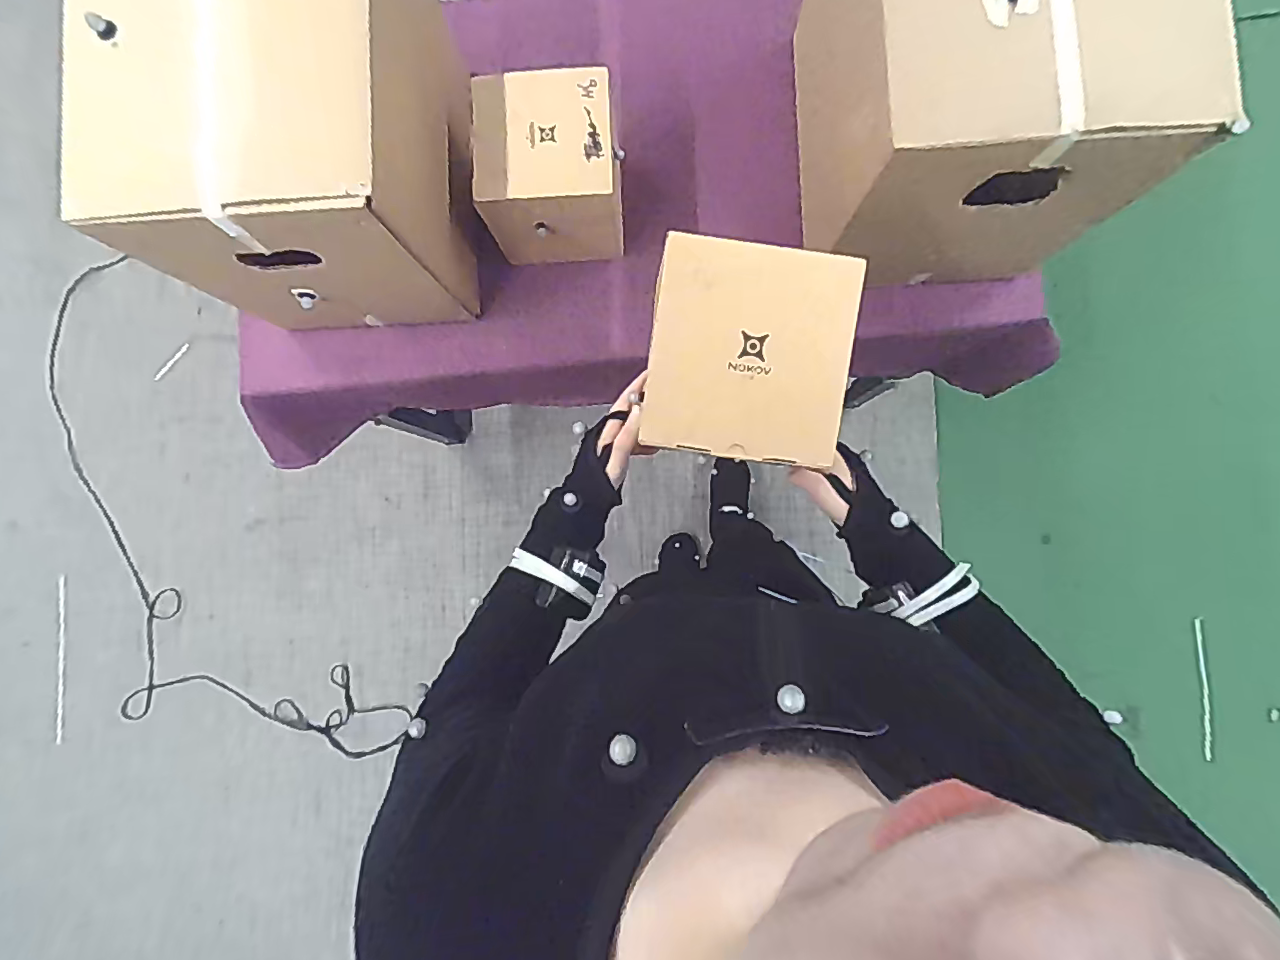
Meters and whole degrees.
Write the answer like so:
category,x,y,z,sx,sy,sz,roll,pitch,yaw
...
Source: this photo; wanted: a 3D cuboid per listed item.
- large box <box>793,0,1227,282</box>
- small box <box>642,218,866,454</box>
category,x,y,z,sx,sy,sz,roll,pitch,yaw
large box,0.390,-0.502,0.665,0.320,0.320,0.408,-2,87,2
small box,0.094,-0.125,0.532,0.168,0.176,0.179,8,95,-2
